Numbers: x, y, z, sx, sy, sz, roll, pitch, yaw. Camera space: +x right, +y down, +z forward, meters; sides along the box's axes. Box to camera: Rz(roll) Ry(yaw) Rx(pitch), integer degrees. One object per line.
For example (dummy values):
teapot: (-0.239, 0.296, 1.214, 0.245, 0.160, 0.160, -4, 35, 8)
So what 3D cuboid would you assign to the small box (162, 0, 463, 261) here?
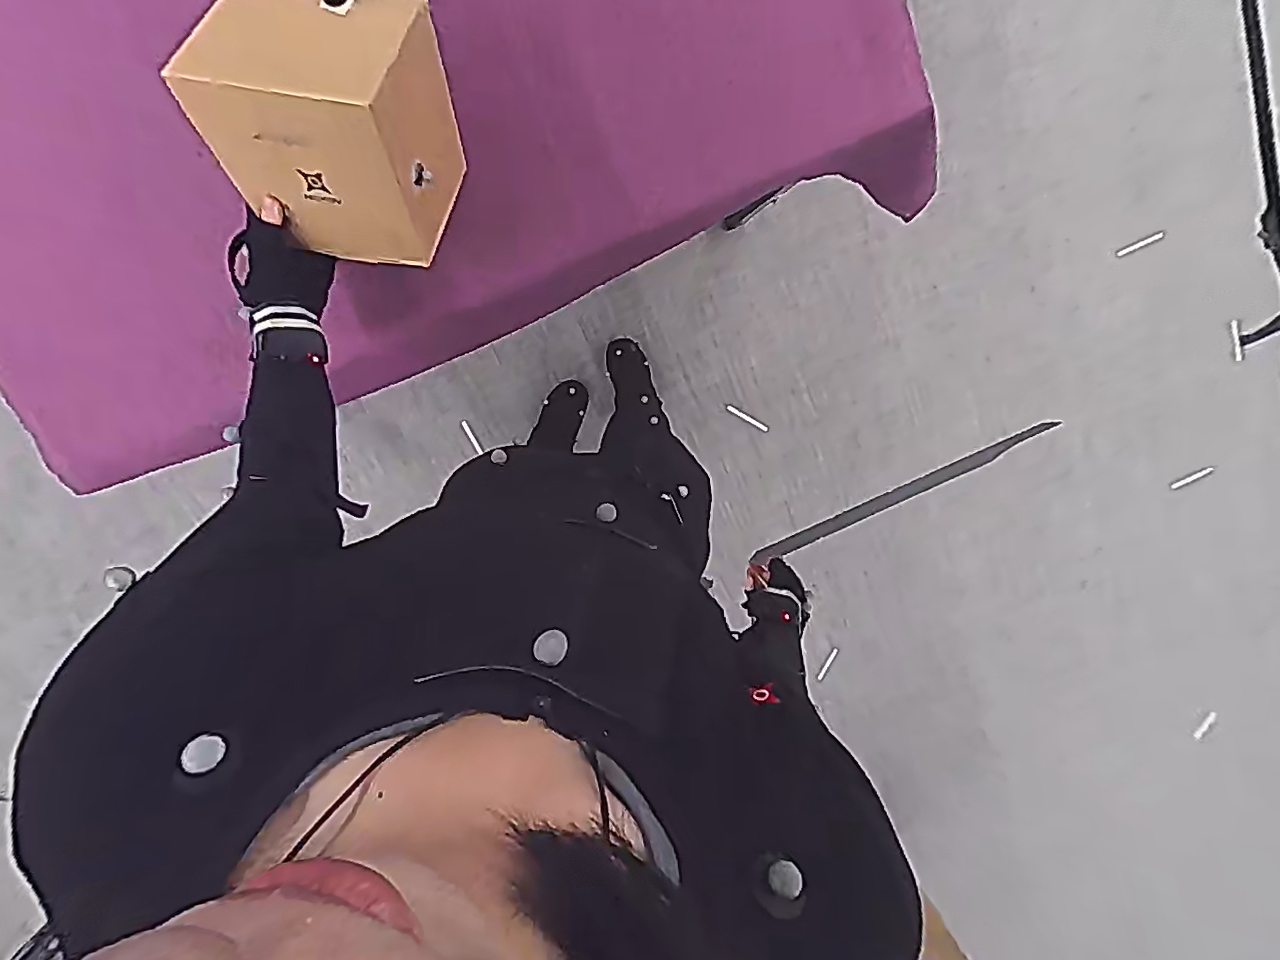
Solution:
small box: (-0.291, -0.352, 0.533, 0.168, 0.179, 0.176, 7, 66, 1)
